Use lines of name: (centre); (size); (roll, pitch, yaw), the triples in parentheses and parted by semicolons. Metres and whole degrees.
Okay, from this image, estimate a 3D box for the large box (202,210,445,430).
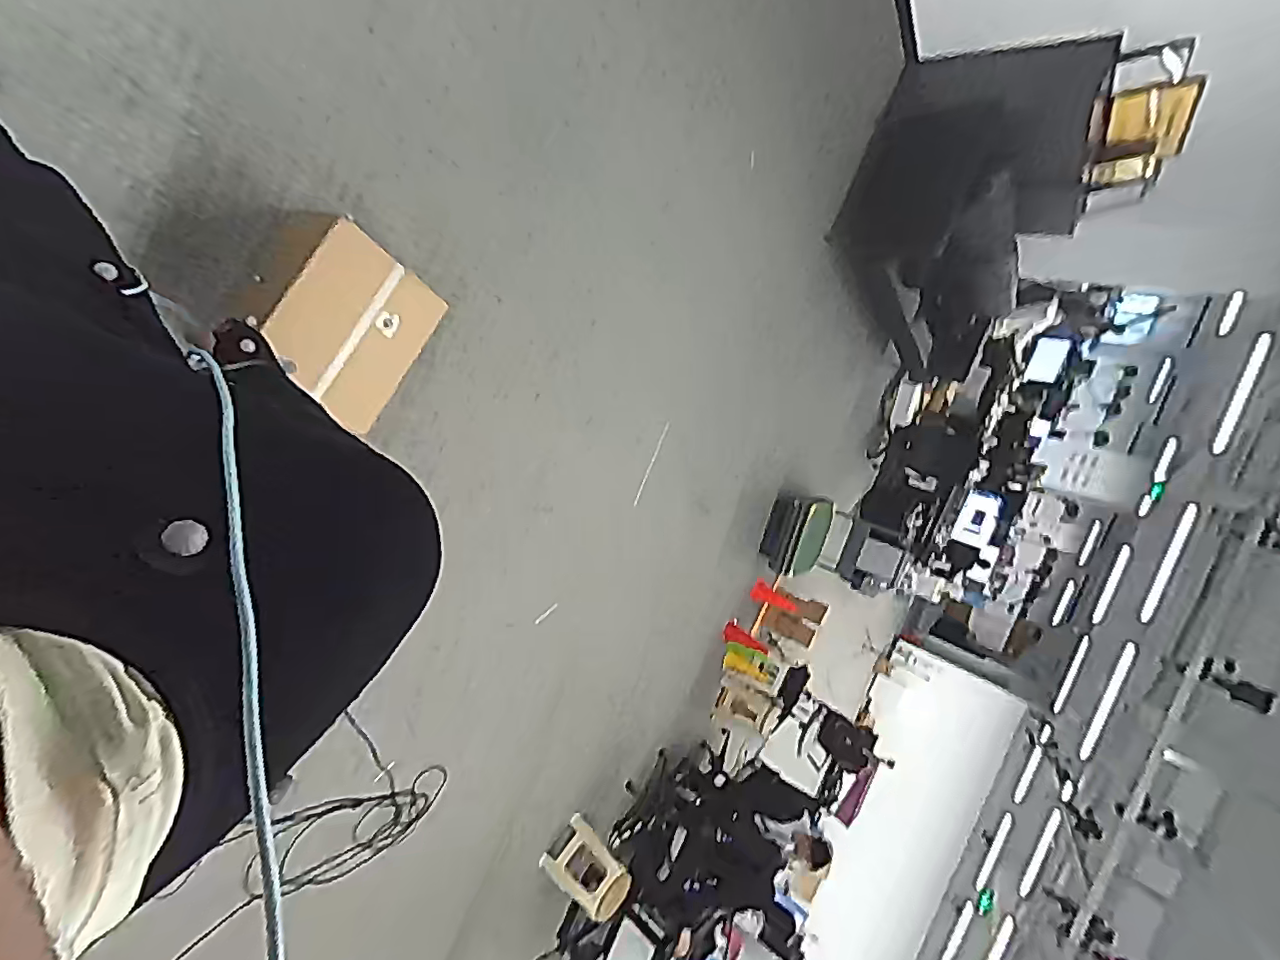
large box: (-0.775, -0.394, 1.338); (0.408, 0.320, 0.320); (-61, 144, -8)
